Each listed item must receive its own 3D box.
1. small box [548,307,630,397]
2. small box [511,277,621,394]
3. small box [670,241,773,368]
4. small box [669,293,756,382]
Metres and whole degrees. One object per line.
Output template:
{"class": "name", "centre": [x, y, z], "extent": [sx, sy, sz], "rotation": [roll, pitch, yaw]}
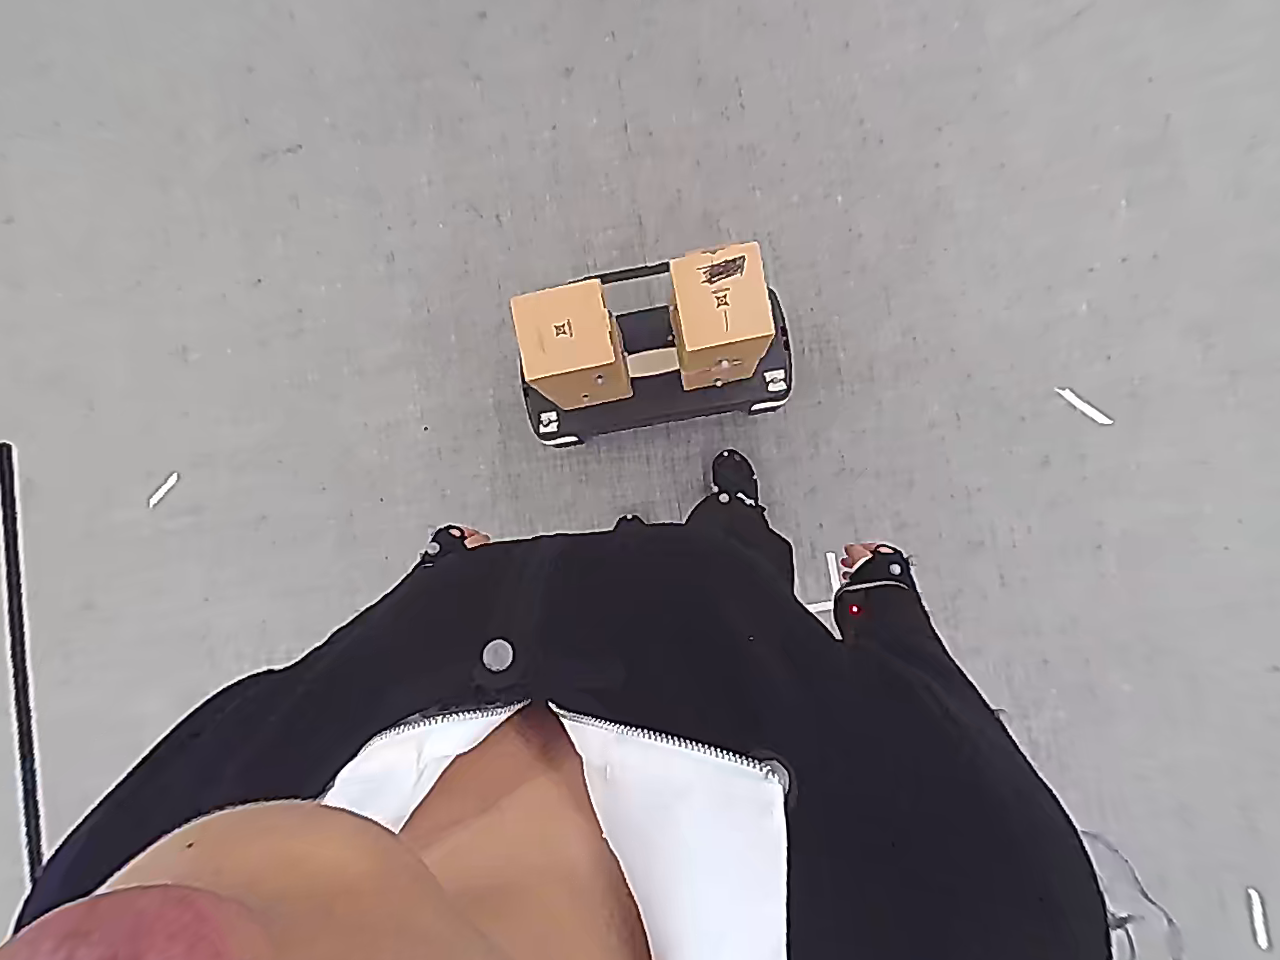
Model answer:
{"class": "small box", "centre": [-0.125, -0.278, 1.255], "extent": [0.179, 0.176, 0.168], "rotation": [-11, 87, 5]}
{"class": "small box", "centre": [-0.139, -0.282, 1.092], "extent": [0.179, 0.176, 0.168], "rotation": [-12, 86, 4]}
{"class": "small box", "centre": [0.154, -0.337, 1.068], "extent": [0.168, 0.176, 0.179], "rotation": [-10, 88, 5]}
{"class": "small box", "centre": [0.160, -0.327, 1.232], "extent": [0.168, 0.176, 0.179], "rotation": [-10, 88, 5]}
